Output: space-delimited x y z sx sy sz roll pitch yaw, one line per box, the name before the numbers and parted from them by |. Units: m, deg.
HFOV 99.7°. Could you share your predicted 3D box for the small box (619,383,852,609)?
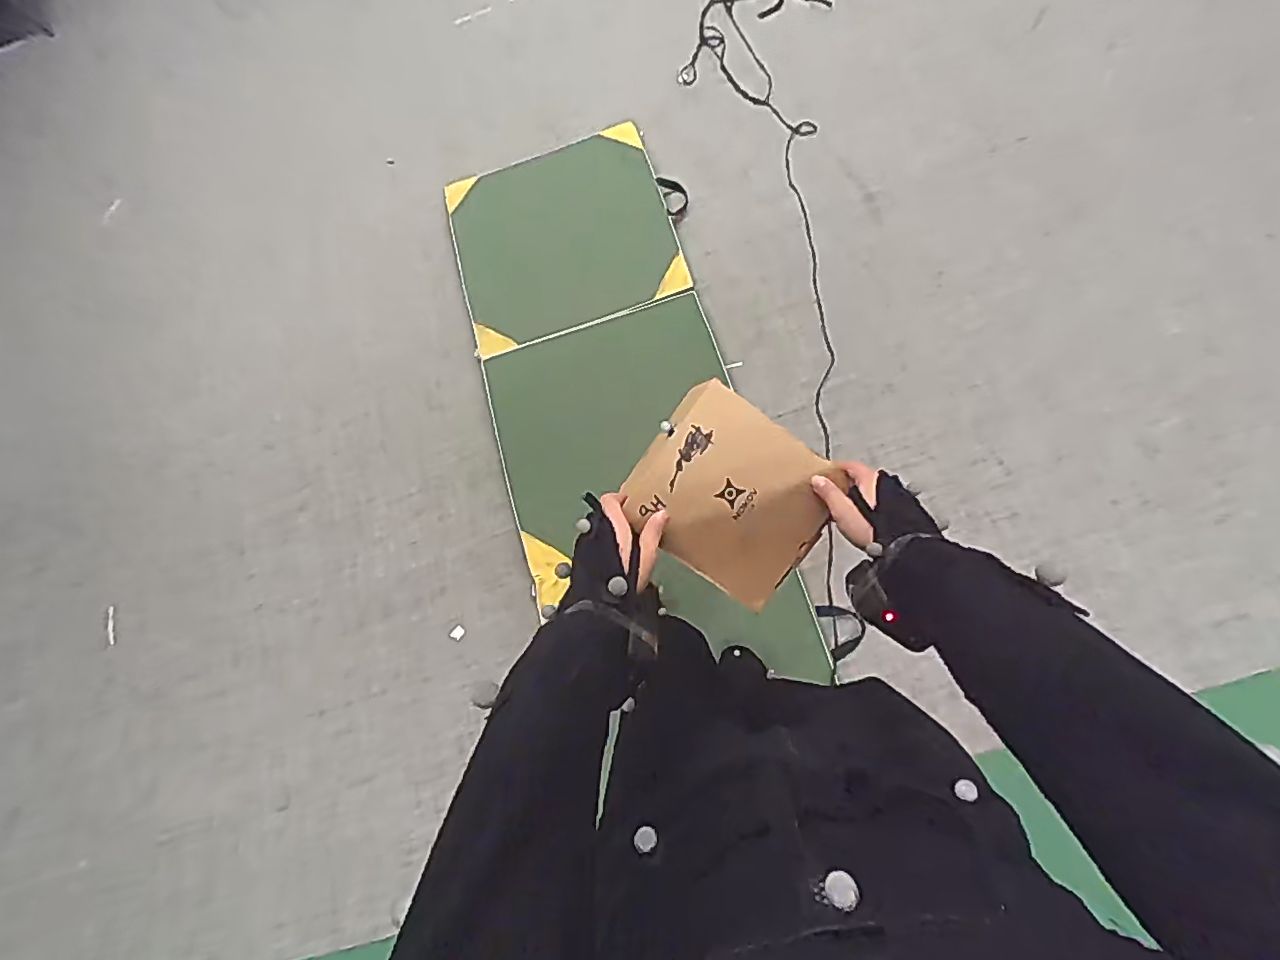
small box | 0.093 0.009 0.612 0.179 0.176 0.168 36 94 -5
